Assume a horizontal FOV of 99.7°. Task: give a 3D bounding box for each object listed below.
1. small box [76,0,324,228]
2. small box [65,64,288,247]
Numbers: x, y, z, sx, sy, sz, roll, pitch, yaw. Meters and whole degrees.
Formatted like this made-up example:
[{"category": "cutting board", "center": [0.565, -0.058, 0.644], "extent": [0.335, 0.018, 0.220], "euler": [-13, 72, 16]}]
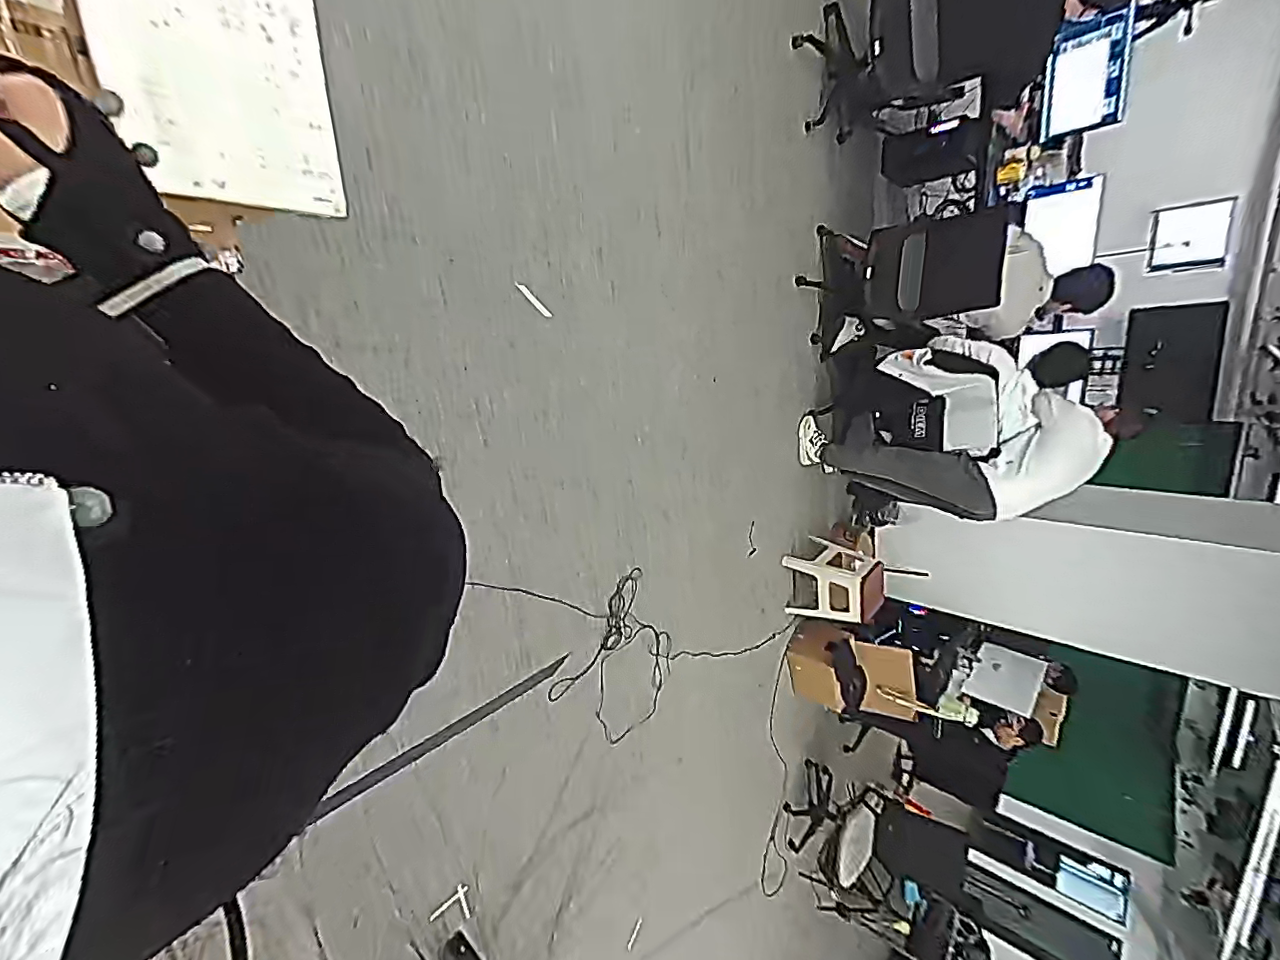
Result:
[{"category": "small box", "center": [-0.496, -0.403, 0.614], "extent": [0.168, 0.176, 0.179], "euler": [-22, 113, -45]}, {"category": "small box", "center": [-0.617, -0.414, 0.724], "extent": [0.179, 0.176, 0.168], "euler": [-25, 115, -44]}]
